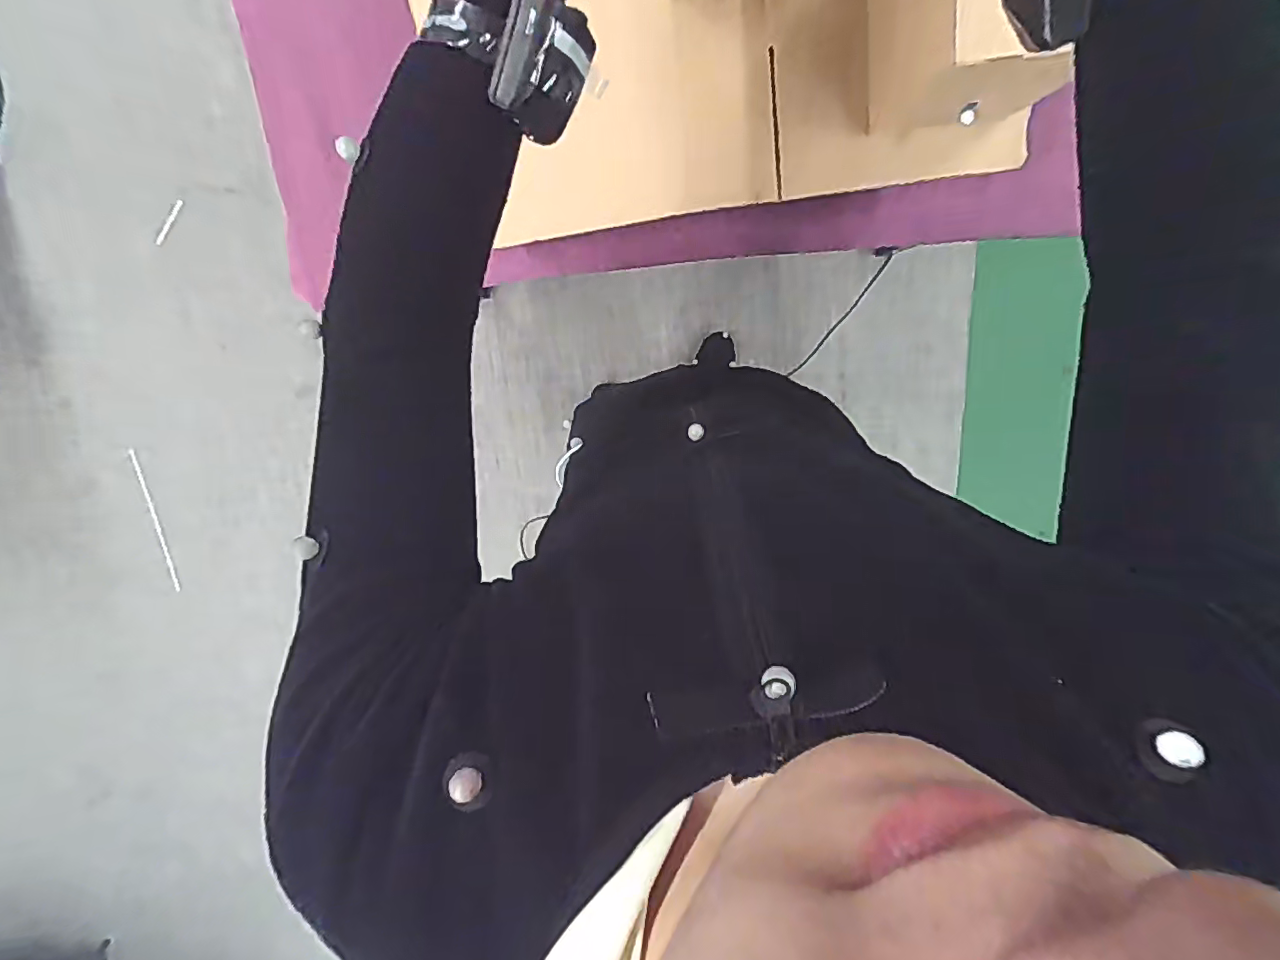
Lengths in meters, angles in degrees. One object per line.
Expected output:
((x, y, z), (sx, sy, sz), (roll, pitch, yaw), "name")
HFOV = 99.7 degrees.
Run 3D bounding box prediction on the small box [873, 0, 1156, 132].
((0.334, -0.462, 0.508), (0.168, 0.176, 0.179), (-7, 105, 1), "small box")
